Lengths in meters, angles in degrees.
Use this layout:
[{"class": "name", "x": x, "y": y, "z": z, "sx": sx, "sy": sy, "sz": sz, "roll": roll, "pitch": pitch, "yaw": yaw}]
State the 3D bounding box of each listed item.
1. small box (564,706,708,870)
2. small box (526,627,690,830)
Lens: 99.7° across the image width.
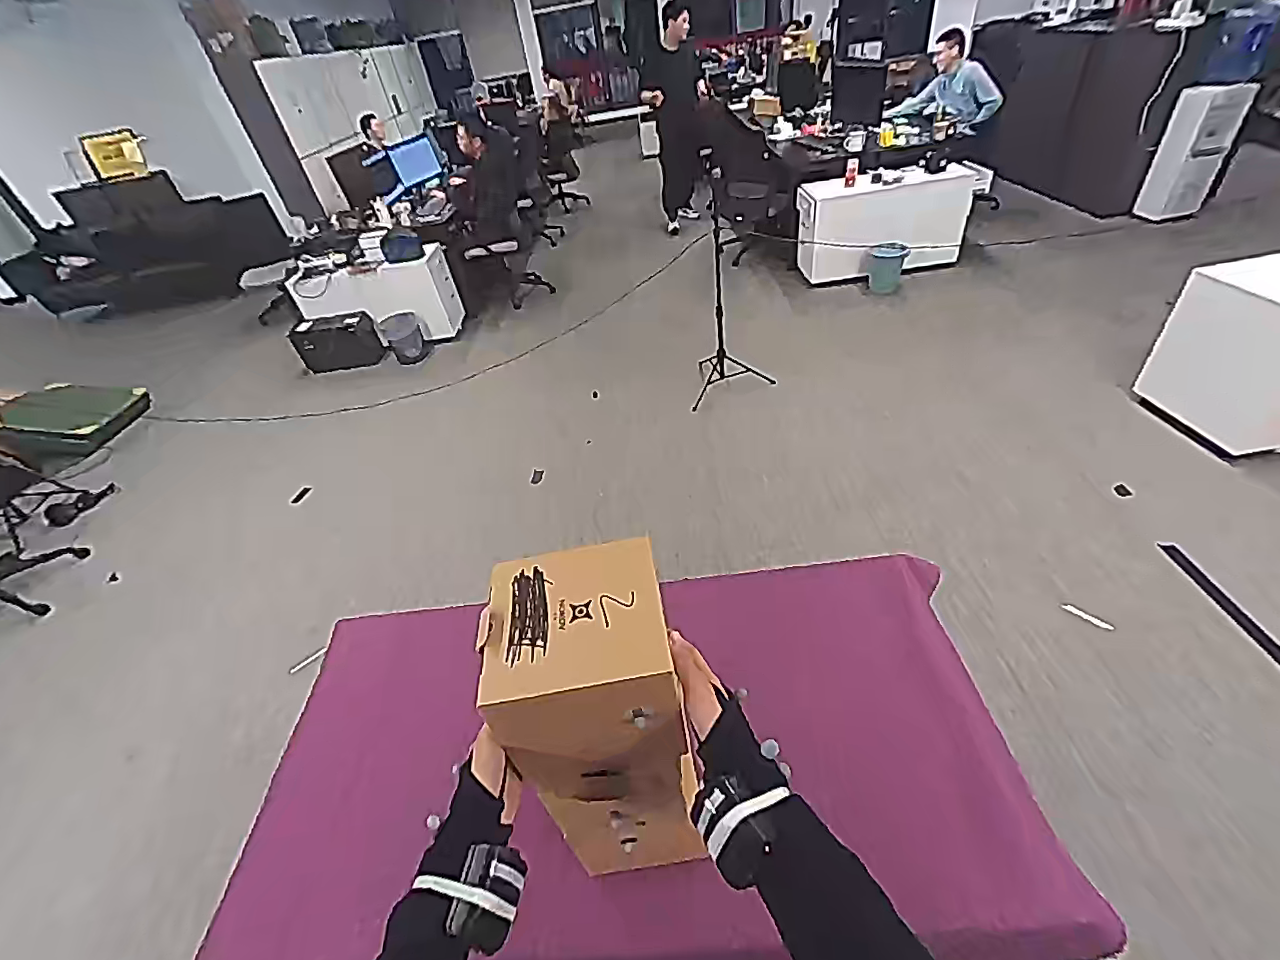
[{"class": "small box", "x": -0.005, "y": 0.436, "z": 0.780, "sx": 0.179, "sy": 0.176, "sz": 0.168, "roll": -9, "pitch": 40, "yaw": 1}, {"class": "small box", "x": -0.028, "y": 0.310, "z": 0.678, "sx": 0.168, "sy": 0.176, "sz": 0.179, "roll": -6, "pitch": 40, "yaw": 6}]
